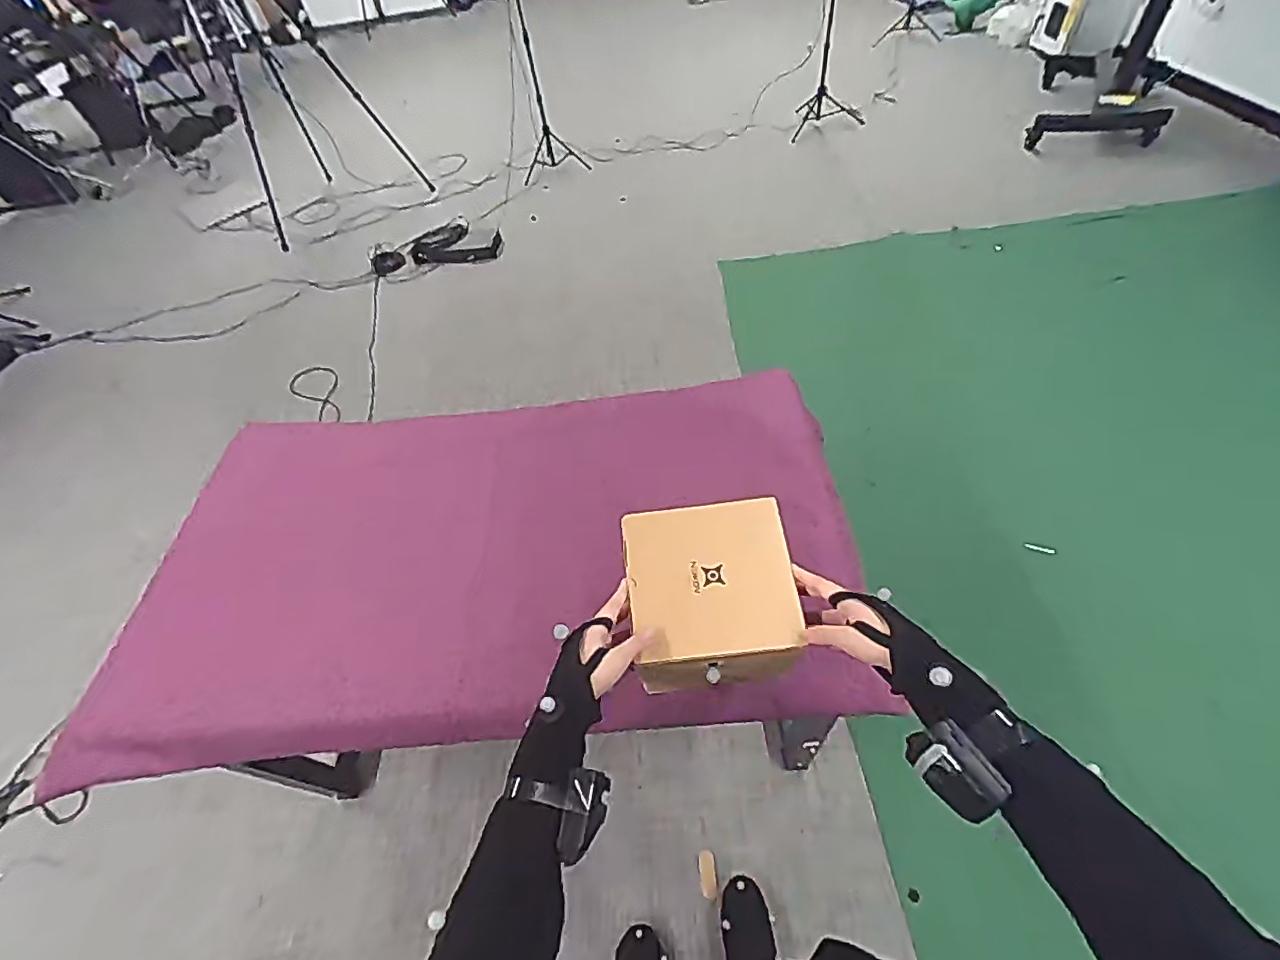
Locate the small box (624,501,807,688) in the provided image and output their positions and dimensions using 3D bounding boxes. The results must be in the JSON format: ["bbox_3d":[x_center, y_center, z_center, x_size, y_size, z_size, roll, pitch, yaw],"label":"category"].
[{"bbox_3d":[0.081,0.142,0.640,0.179,0.176,0.168,-8,59,4],"label":"small box"}]
